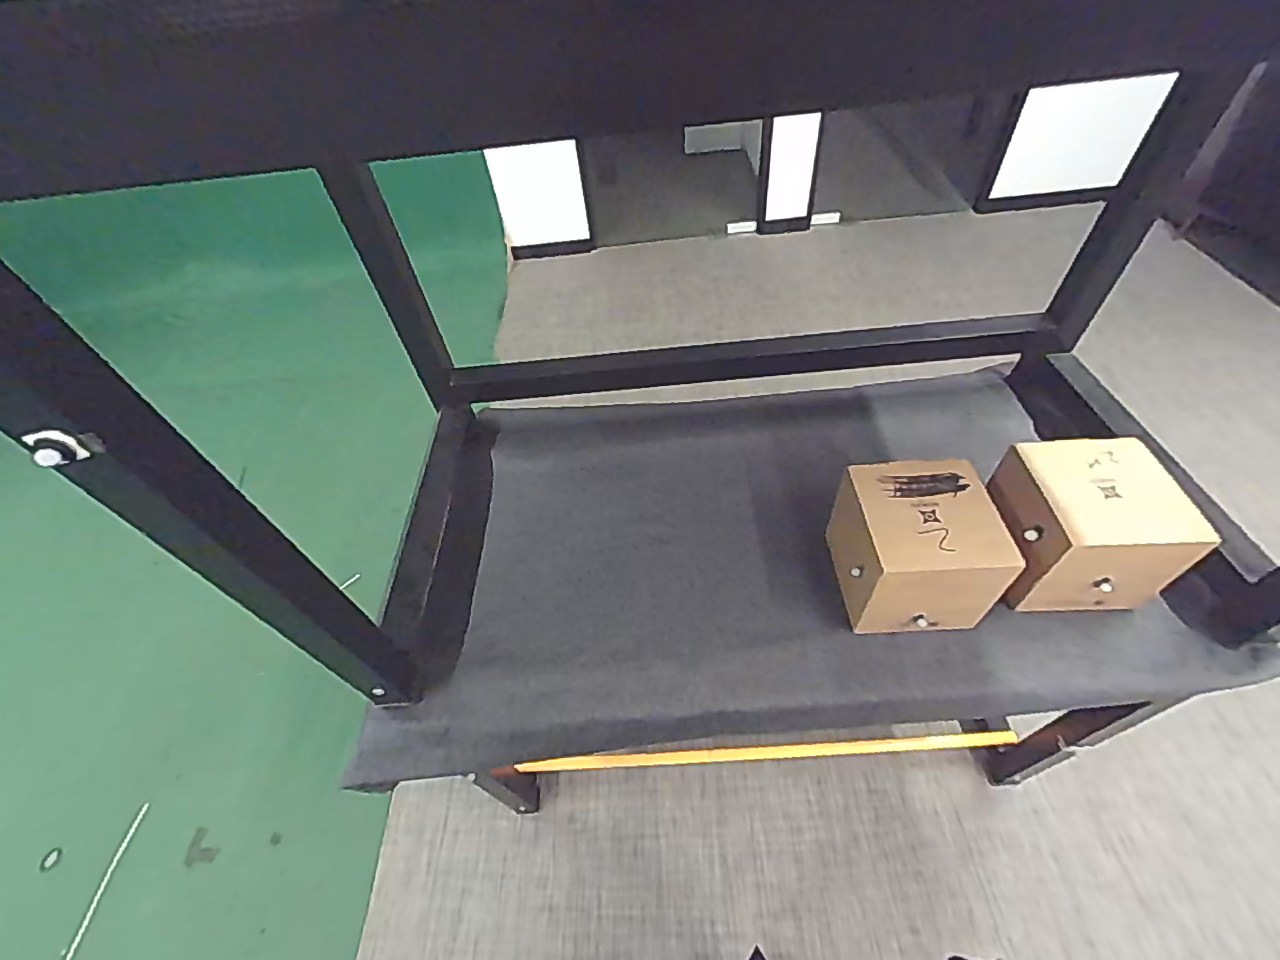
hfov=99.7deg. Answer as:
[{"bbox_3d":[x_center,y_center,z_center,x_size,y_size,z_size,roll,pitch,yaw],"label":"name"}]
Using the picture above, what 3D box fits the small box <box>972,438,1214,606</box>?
[{"bbox_3d":[0.604,0.063,0.753,0.168,0.176,0.179,-2,49,5],"label":"small box"}]
